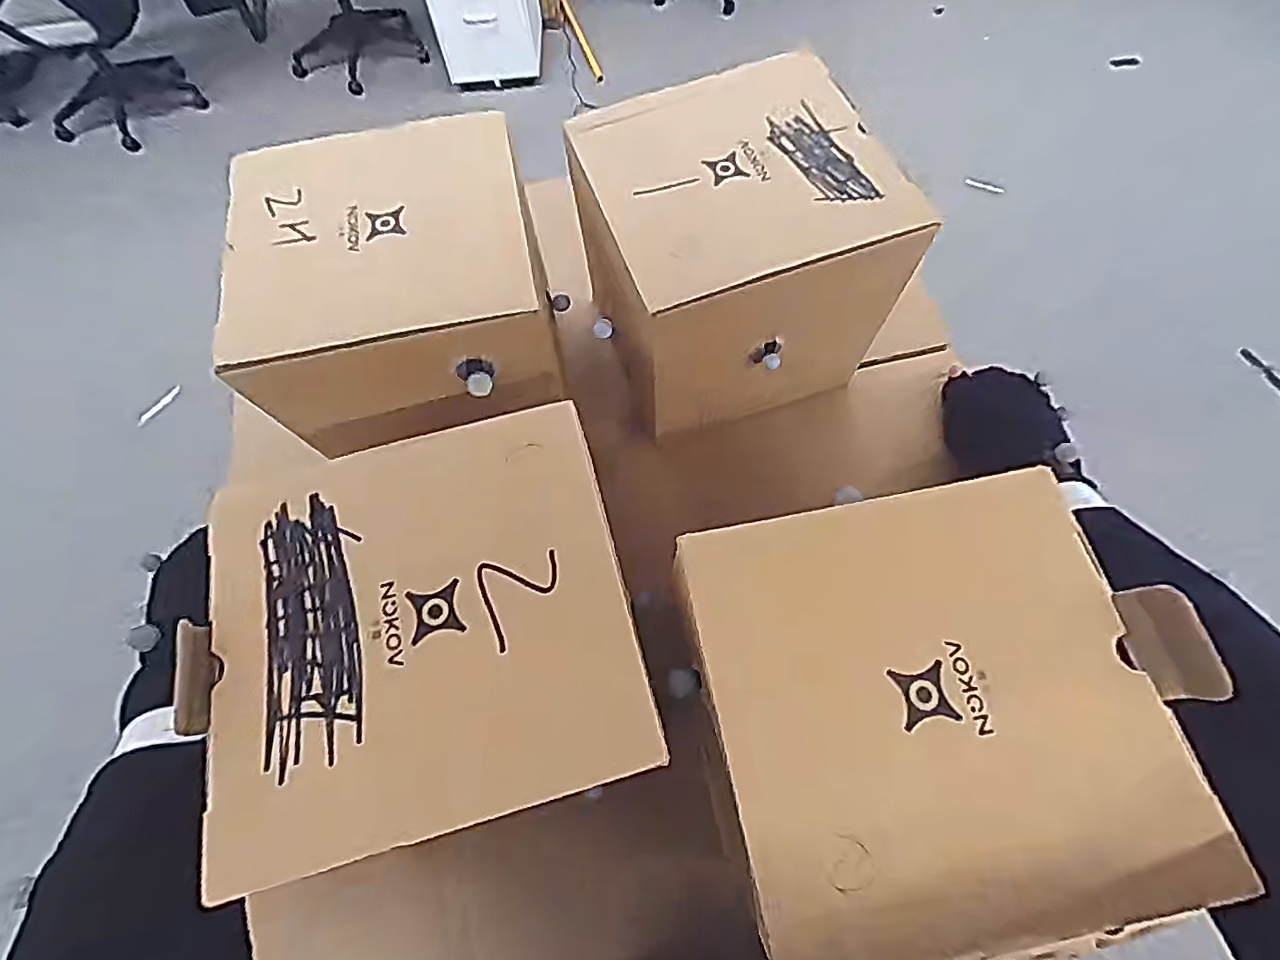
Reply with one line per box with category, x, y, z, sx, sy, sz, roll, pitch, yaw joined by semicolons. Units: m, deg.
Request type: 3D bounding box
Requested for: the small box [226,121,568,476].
small box;-0.155;-0.119;0.403;0.179;0.176;0.168;-12;68;-2
